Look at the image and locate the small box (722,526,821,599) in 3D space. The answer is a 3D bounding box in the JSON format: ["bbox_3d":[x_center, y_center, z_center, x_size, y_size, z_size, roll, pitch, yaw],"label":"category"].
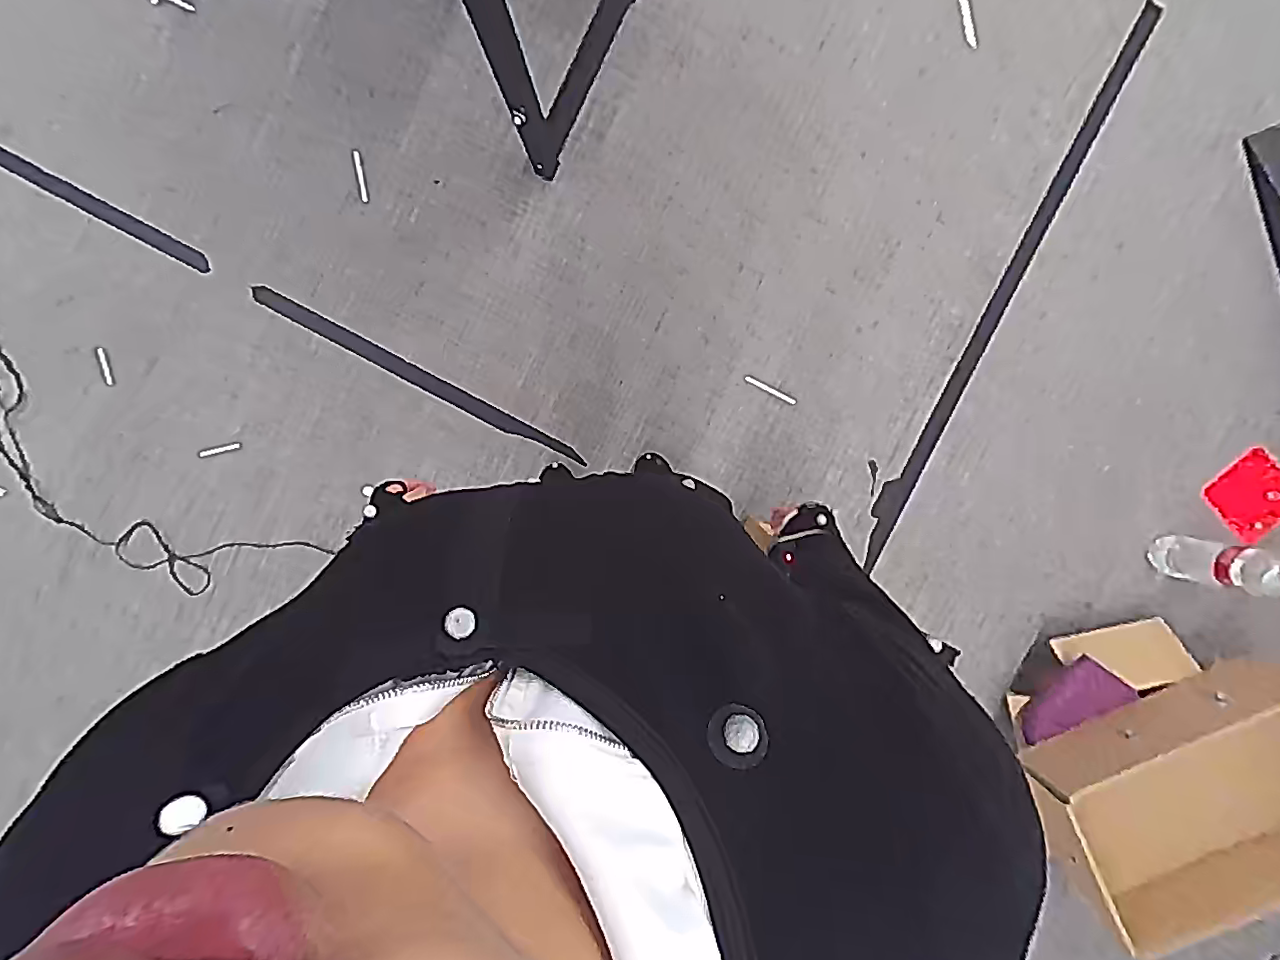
[{"bbox_3d":[0.311,0.219,1.257,0.179,0.176,0.168,27,92,1],"label":"small box"}]

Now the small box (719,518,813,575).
[{"bbox_3d":[0.321,0.213,1.421,0.168,0.176,0.179,27,93,1],"label":"small box"}]
